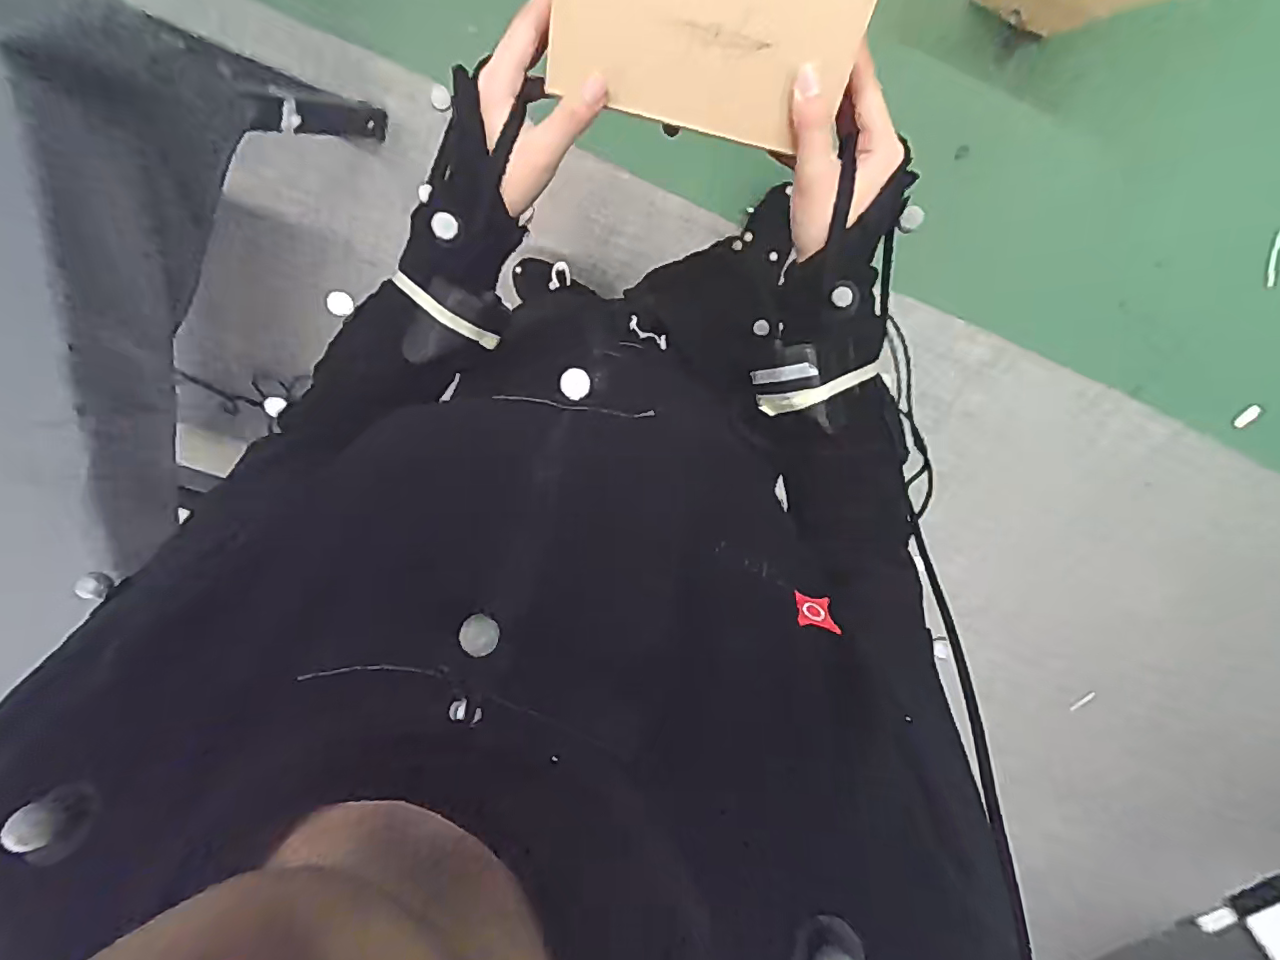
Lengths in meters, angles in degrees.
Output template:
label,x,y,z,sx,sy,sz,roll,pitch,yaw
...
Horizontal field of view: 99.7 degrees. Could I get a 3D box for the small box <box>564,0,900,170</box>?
label,x,y,z,sx,sy,sz,roll,pitch,yaw
small box,0.060,-0.315,0.326,0.168,0.176,0.179,13,128,-3

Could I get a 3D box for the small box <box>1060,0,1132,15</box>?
label,x,y,z,sx,sy,sz,roll,pitch,yaw
small box,0.630,-0.749,0.700,0.168,0.176,0.179,18,120,-6
